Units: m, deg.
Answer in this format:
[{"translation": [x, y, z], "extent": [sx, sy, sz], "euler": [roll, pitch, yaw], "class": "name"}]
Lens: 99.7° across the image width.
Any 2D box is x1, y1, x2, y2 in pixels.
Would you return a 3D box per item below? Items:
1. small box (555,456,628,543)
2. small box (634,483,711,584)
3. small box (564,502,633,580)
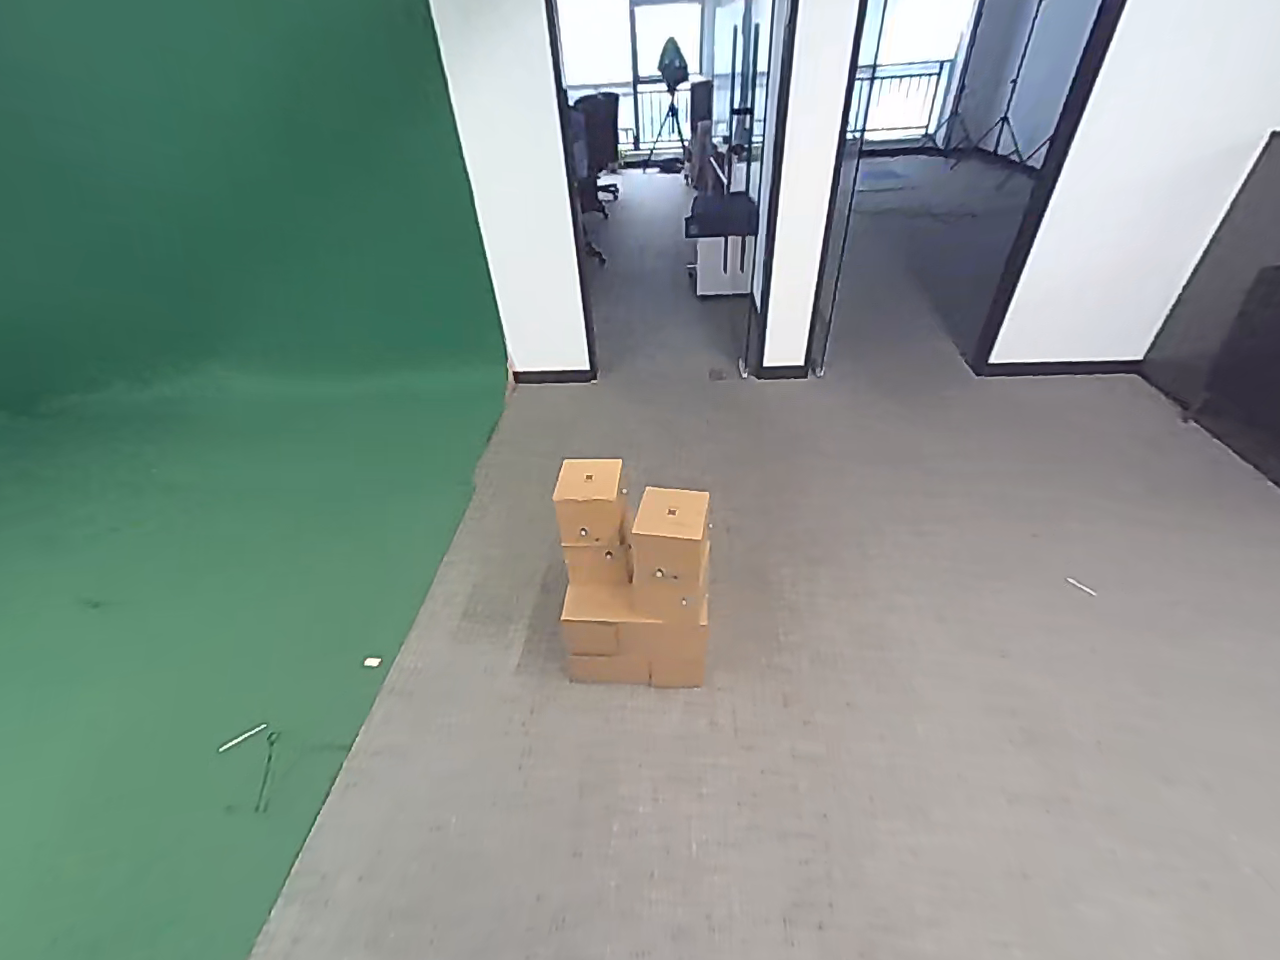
[{"translation": [-0.125, 0.051, 1.481], "extent": [0.168, 0.176, 0.179], "euler": [0, 39, 6], "class": "small box"}, {"translation": [0.084, 0.133, 1.357], "extent": [0.168, 0.176, 0.179], "euler": [6, 39, 11], "class": "small box"}, {"translation": [-0.113, 0.180, 1.581], "extent": [0.179, 0.176, 0.168], "euler": [-1, 37, 4], "class": "small box"}]
